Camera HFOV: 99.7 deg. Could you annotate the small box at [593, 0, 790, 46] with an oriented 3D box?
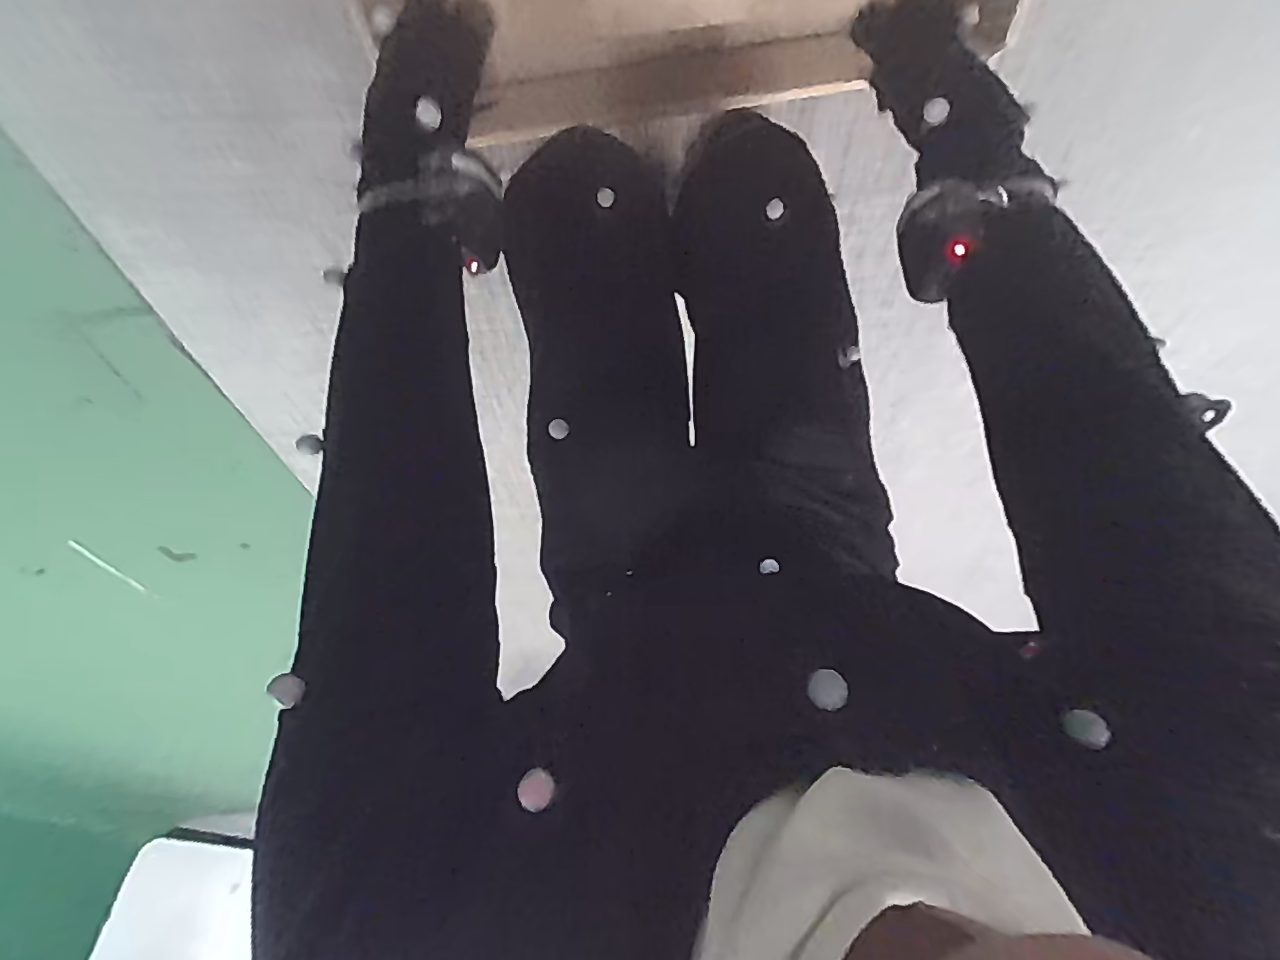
[{"bbox_3d":[0.037,-0.518,0.480,0.179,0.176,0.168,-5,140,3],"label":"small box"}]
